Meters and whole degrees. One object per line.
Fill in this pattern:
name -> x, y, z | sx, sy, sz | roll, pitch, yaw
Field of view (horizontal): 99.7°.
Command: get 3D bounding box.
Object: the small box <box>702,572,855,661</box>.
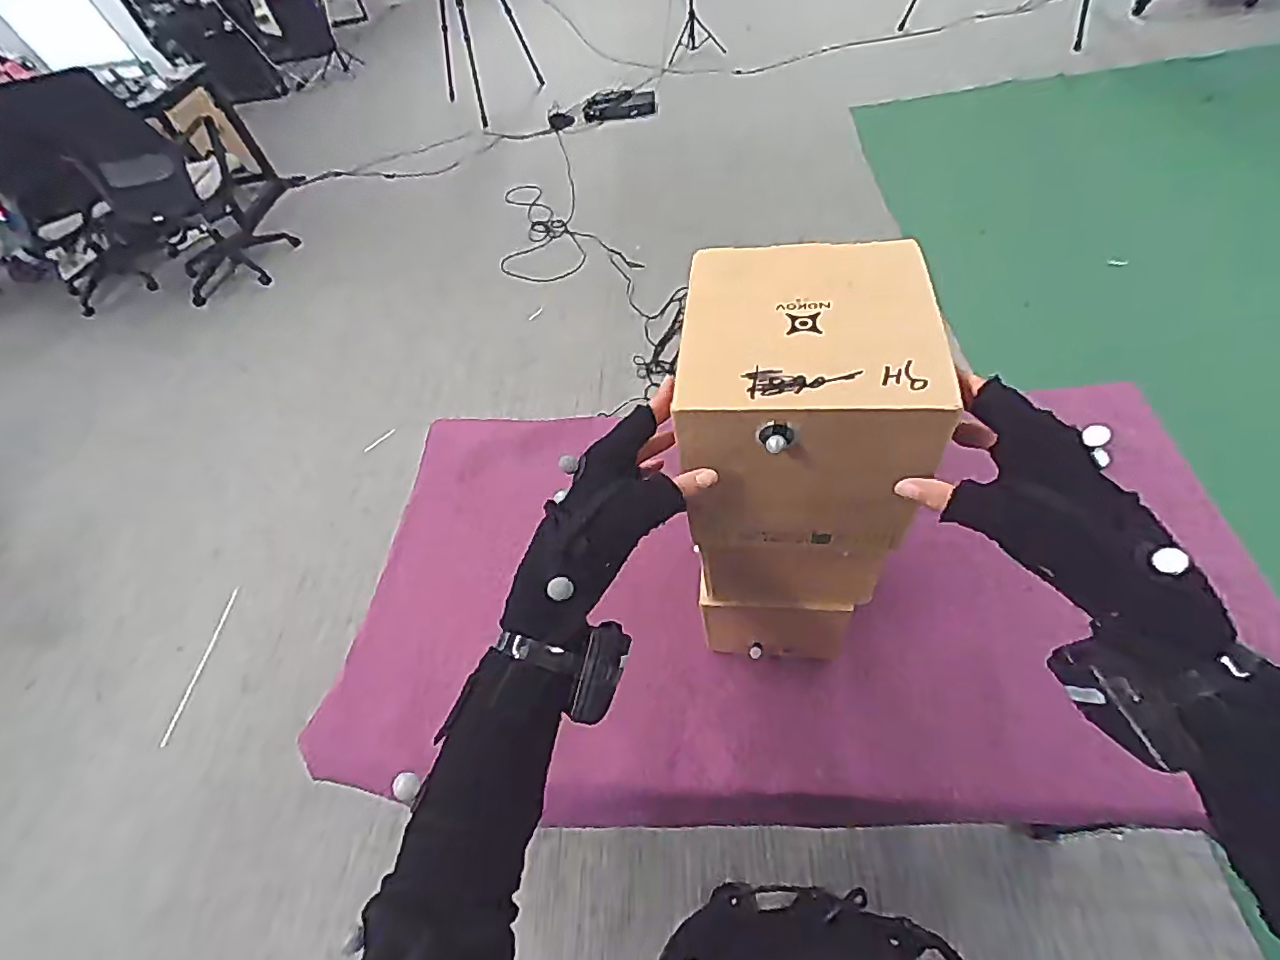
small box -> 0.171, 0.115, 0.696 | 0.168, 0.176, 0.179 | 0, 55, 12

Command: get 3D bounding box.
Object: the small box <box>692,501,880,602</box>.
small box -> 0.152, 0.018, 0.567 | 0.179, 0.176, 0.168 | -1, 54, 10

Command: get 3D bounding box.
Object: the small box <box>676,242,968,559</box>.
small box -> 0.125, -0.059, 0.423 | 0.168, 0.176, 0.179 | 1, 53, 12
